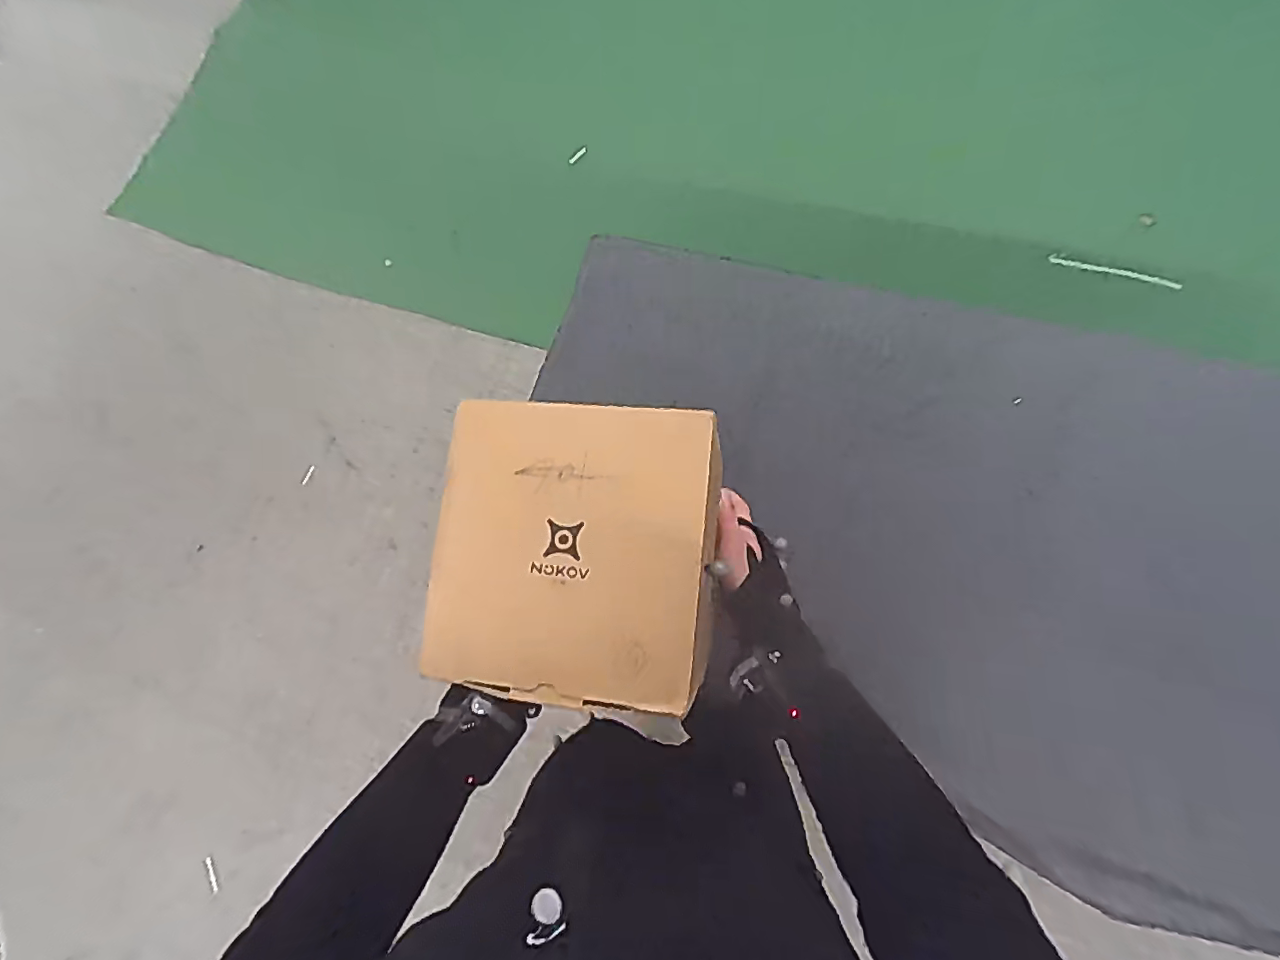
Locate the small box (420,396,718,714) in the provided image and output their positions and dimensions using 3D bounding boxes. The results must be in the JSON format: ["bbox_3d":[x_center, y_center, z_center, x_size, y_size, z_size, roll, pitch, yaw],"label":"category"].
[{"bbox_3d":[-0.032,0.050,0.399,0.168,0.176,0.179,4,81,10],"label":"small box"}]
